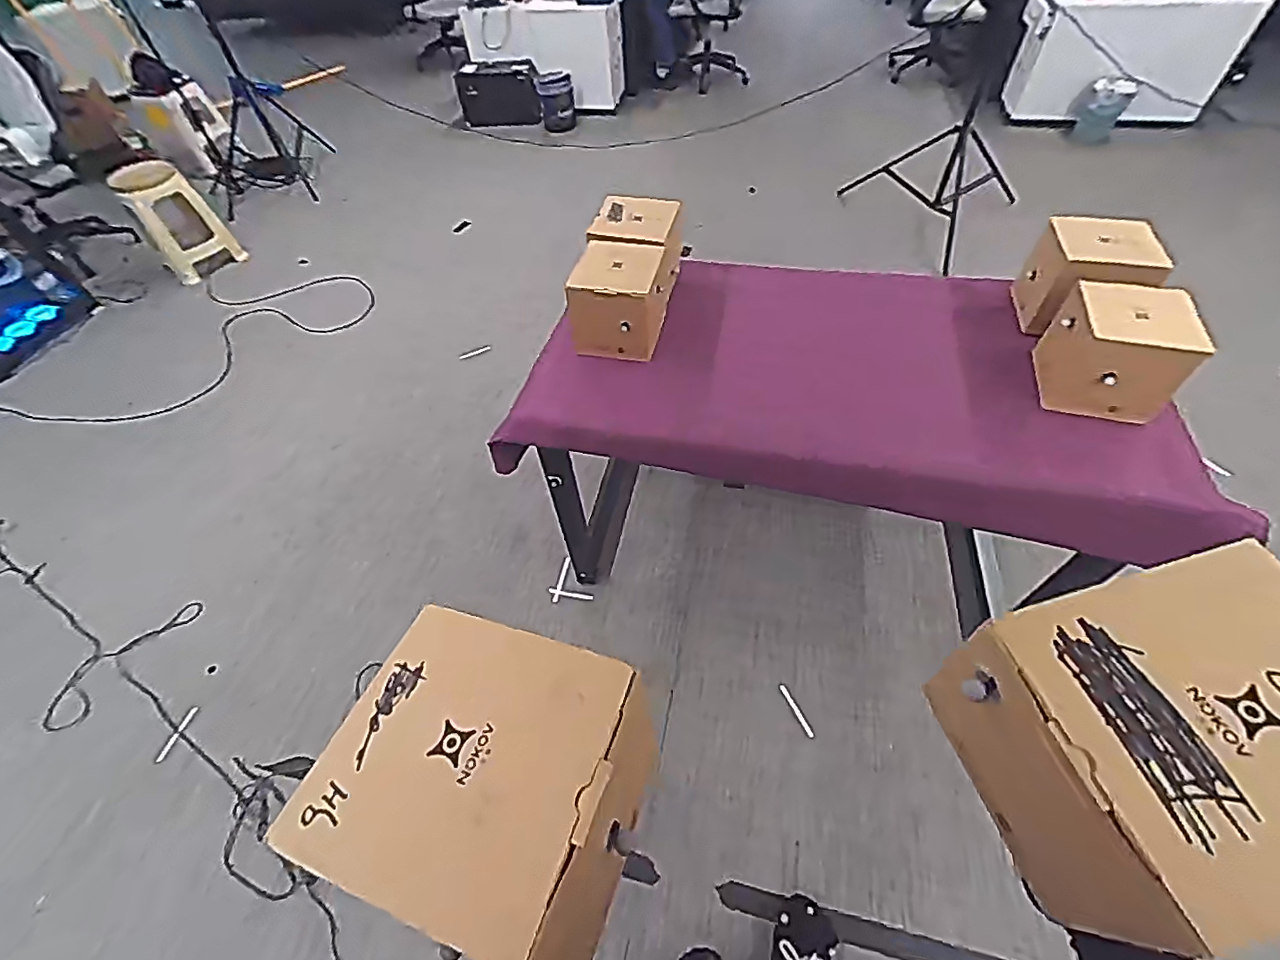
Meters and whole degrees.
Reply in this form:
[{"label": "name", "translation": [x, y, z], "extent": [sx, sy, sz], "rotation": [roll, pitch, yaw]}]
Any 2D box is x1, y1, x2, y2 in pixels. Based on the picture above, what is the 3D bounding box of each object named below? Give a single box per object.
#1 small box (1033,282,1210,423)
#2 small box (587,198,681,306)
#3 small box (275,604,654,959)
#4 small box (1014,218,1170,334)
[{"label": "small box", "translation": [0.844, -0.226, 0.971], "extent": [0.168, 0.176, 0.179], "rotation": [12, 53, 14]}, {"label": "small box", "translation": [-0.008, -0.524, 1.250], "extent": [0.179, 0.176, 0.168], "rotation": [11, 56, 10]}, {"label": "small box", "translation": [-0.096, 0.222, 0.392], "extent": [0.179, 0.176, 0.168], "rotation": [12, 49, 17]}, {"label": "small box", "translation": [0.894, -0.404, 1.096], "extent": [0.179, 0.176, 0.168], "rotation": [10, 55, 10]}]
